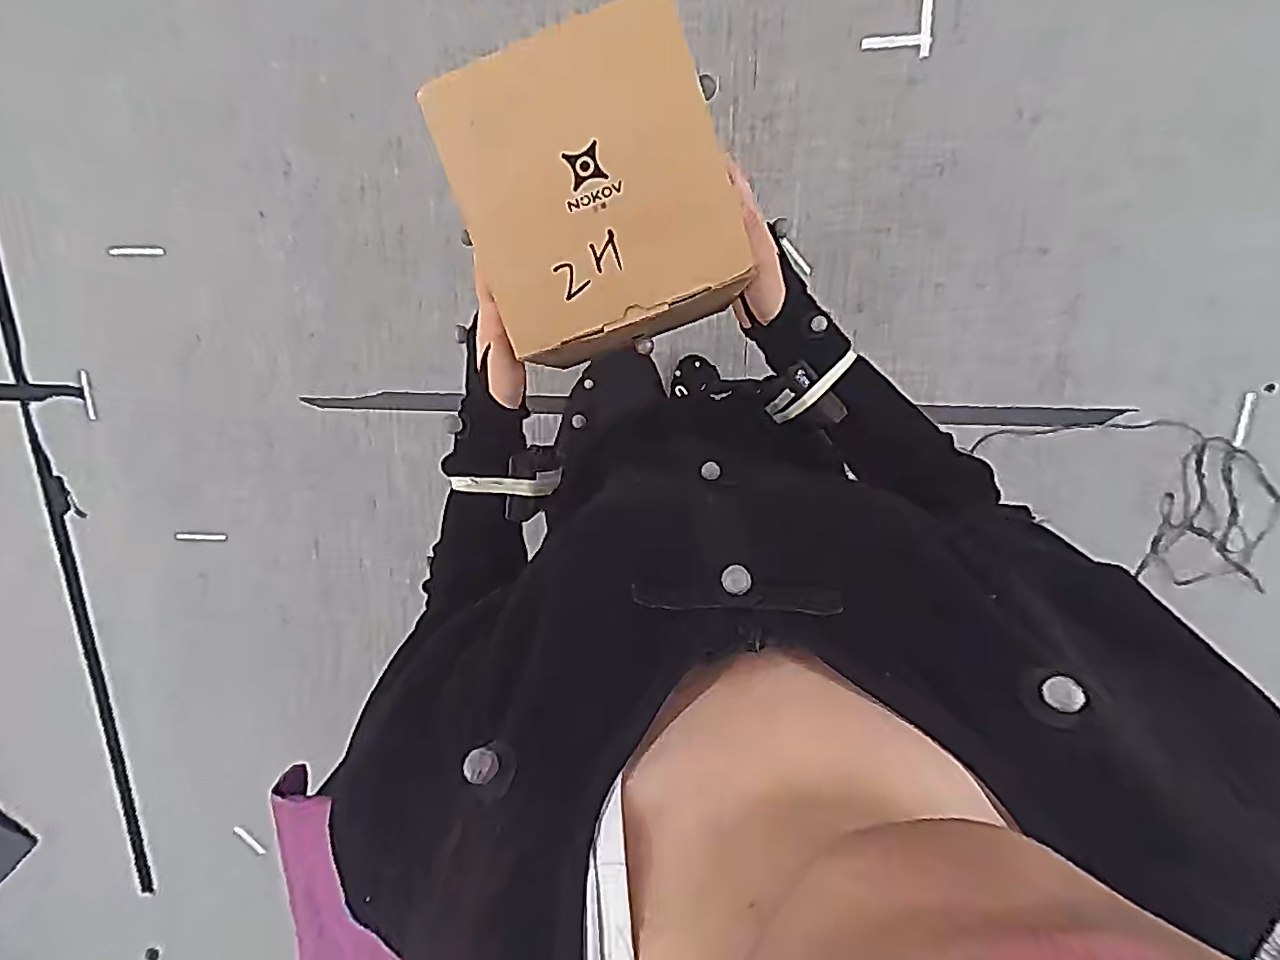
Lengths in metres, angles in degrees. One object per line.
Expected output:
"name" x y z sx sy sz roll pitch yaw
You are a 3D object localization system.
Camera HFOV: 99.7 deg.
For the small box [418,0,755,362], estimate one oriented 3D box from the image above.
"small box" -0.029 -0.200 0.411 0.168 0.176 0.179 -19 99 5
